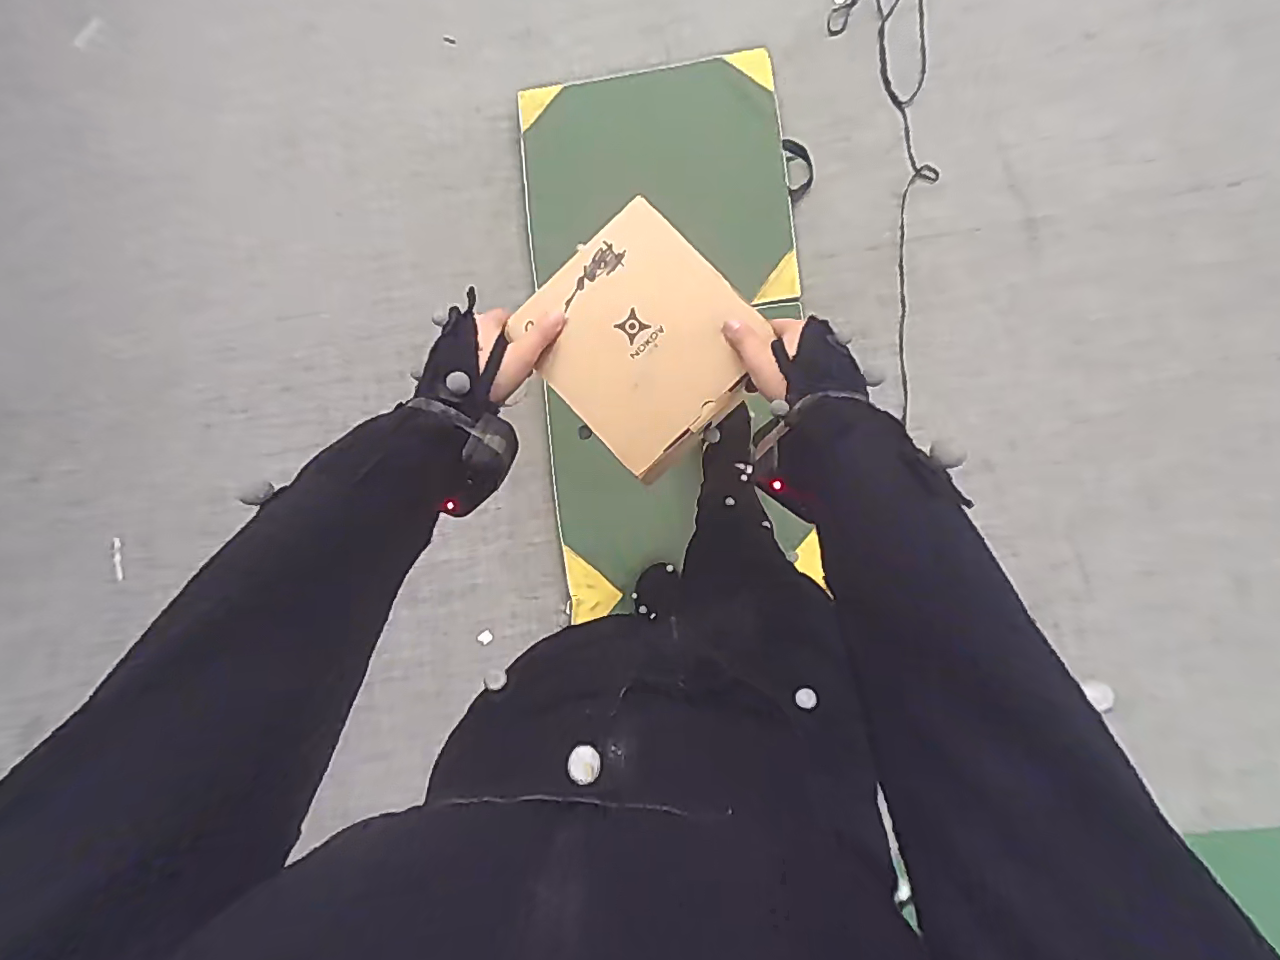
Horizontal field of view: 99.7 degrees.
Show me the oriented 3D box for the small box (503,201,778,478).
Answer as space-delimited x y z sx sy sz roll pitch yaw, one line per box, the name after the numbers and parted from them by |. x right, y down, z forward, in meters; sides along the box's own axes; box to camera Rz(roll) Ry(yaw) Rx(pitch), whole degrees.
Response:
0.004 -0.117 0.530 0.168 0.176 0.179 -43 85 0 | small box
